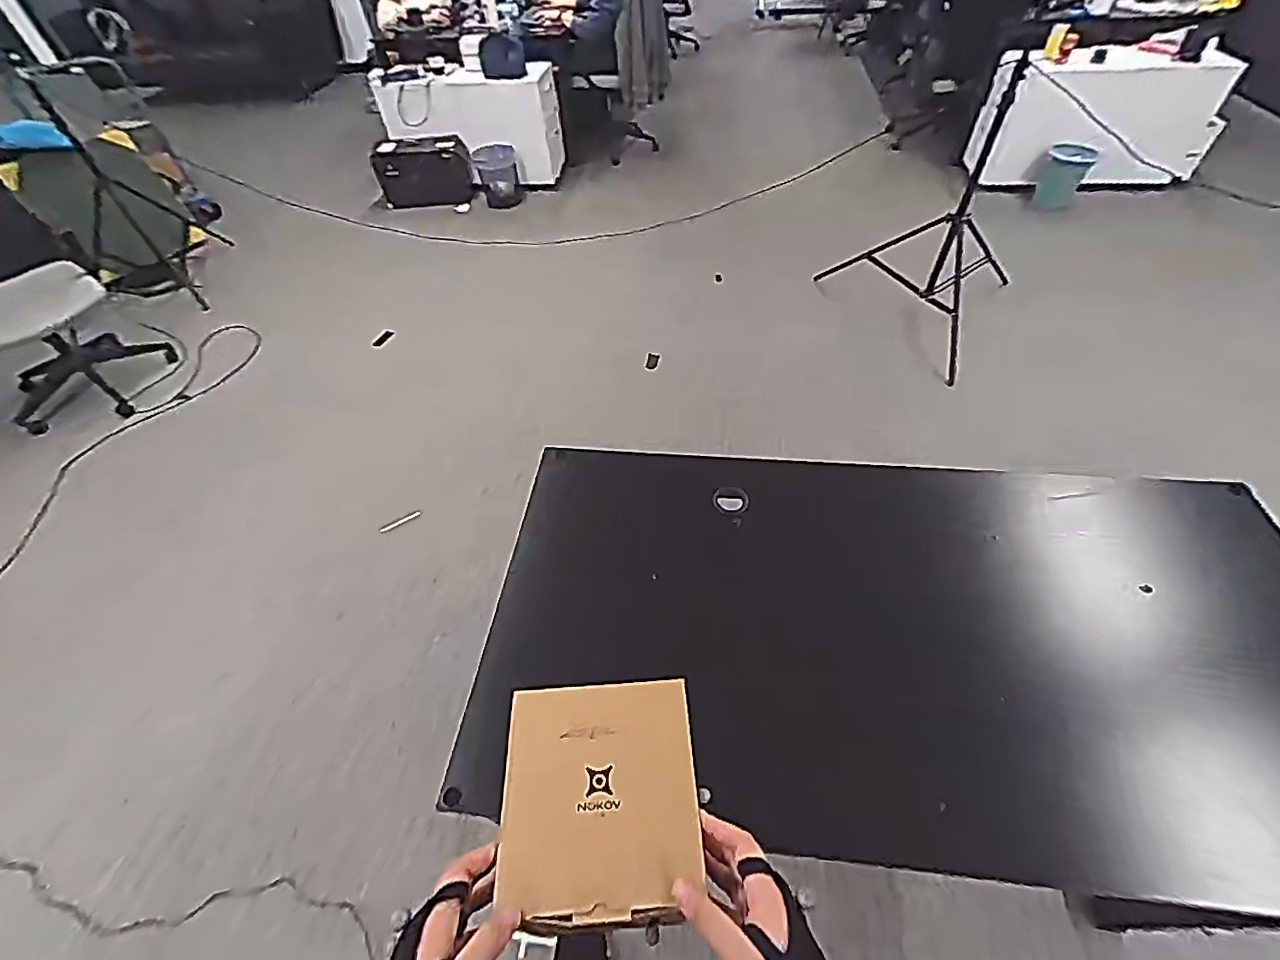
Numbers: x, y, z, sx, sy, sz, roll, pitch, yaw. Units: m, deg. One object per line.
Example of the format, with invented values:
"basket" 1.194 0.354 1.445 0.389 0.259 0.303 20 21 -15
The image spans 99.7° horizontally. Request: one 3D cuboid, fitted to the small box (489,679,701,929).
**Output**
"small box" -0.034 0.314 0.521 0.168 0.176 0.179 -3 47 -1
